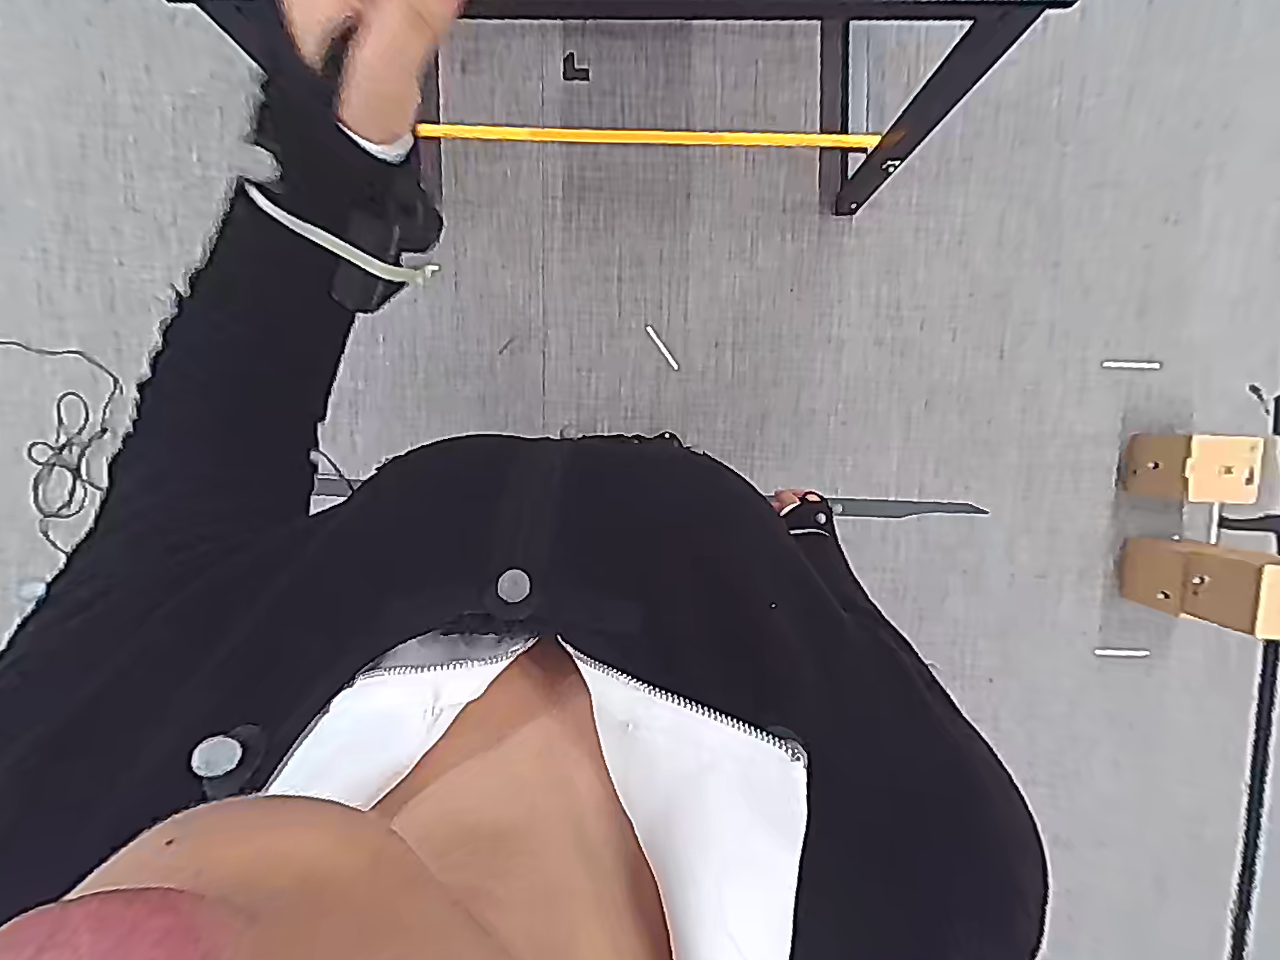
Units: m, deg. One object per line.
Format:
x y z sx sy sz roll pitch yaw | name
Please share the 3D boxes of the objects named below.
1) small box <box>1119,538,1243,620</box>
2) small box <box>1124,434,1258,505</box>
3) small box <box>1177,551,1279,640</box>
1.416 0.255 1.425 0.168 0.176 0.179 0 95 0 | small box
1.414 -0.030 1.401 0.179 0.176 0.168 3 94 0 | small box
1.428 0.264 1.262 0.179 0.176 0.168 2 94 1 | small box
